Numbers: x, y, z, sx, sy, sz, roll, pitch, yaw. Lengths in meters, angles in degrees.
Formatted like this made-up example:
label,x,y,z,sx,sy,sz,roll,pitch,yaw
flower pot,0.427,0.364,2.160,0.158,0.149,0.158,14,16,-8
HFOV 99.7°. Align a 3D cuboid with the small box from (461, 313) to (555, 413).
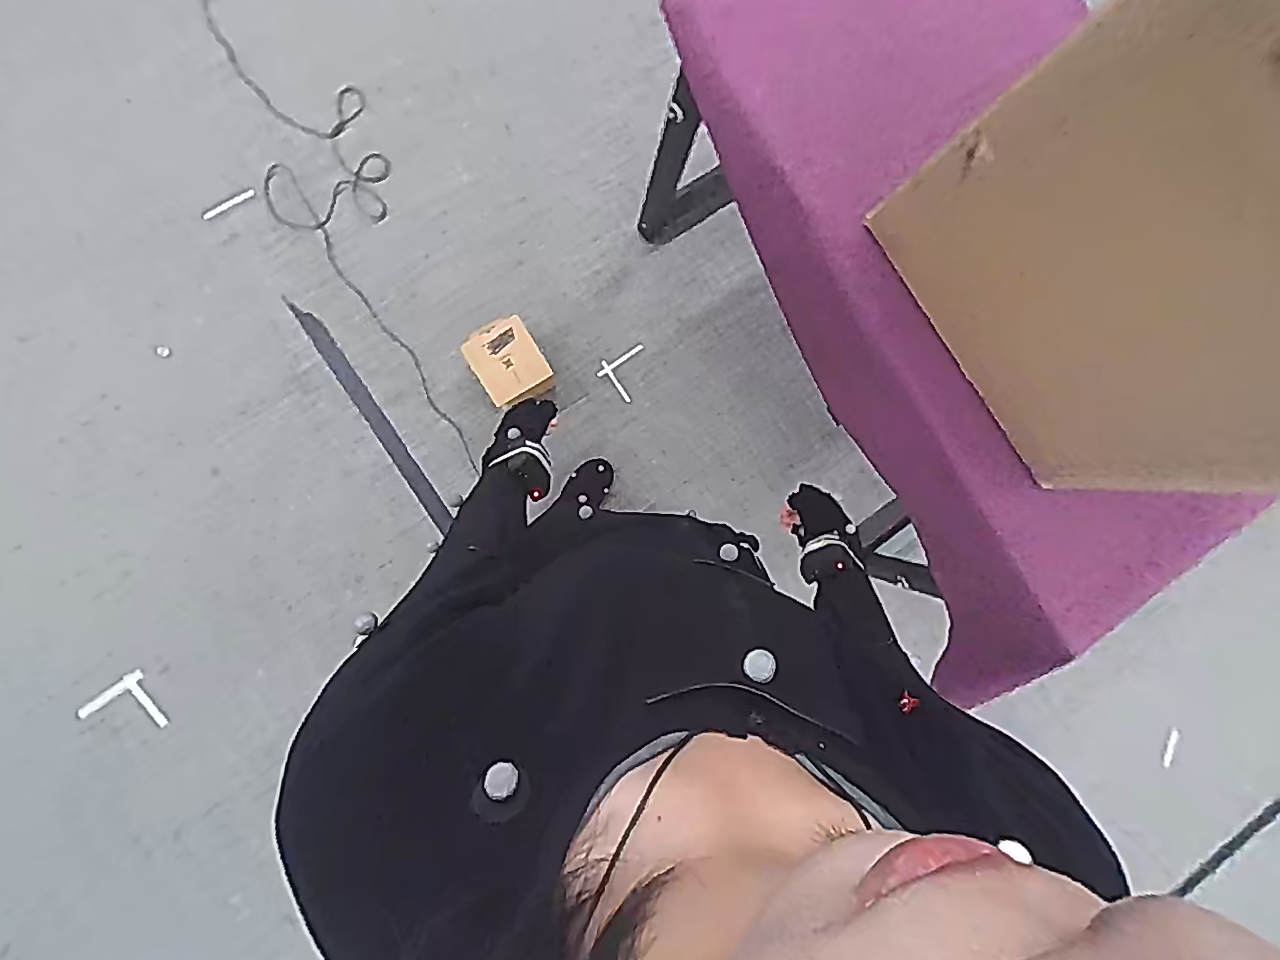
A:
label,x,y,z,sx,sy,sz,roll,pitch,yaw
small box,-0.332,-0.293,1.393,0.168,0.176,0.179,-31,93,-7
